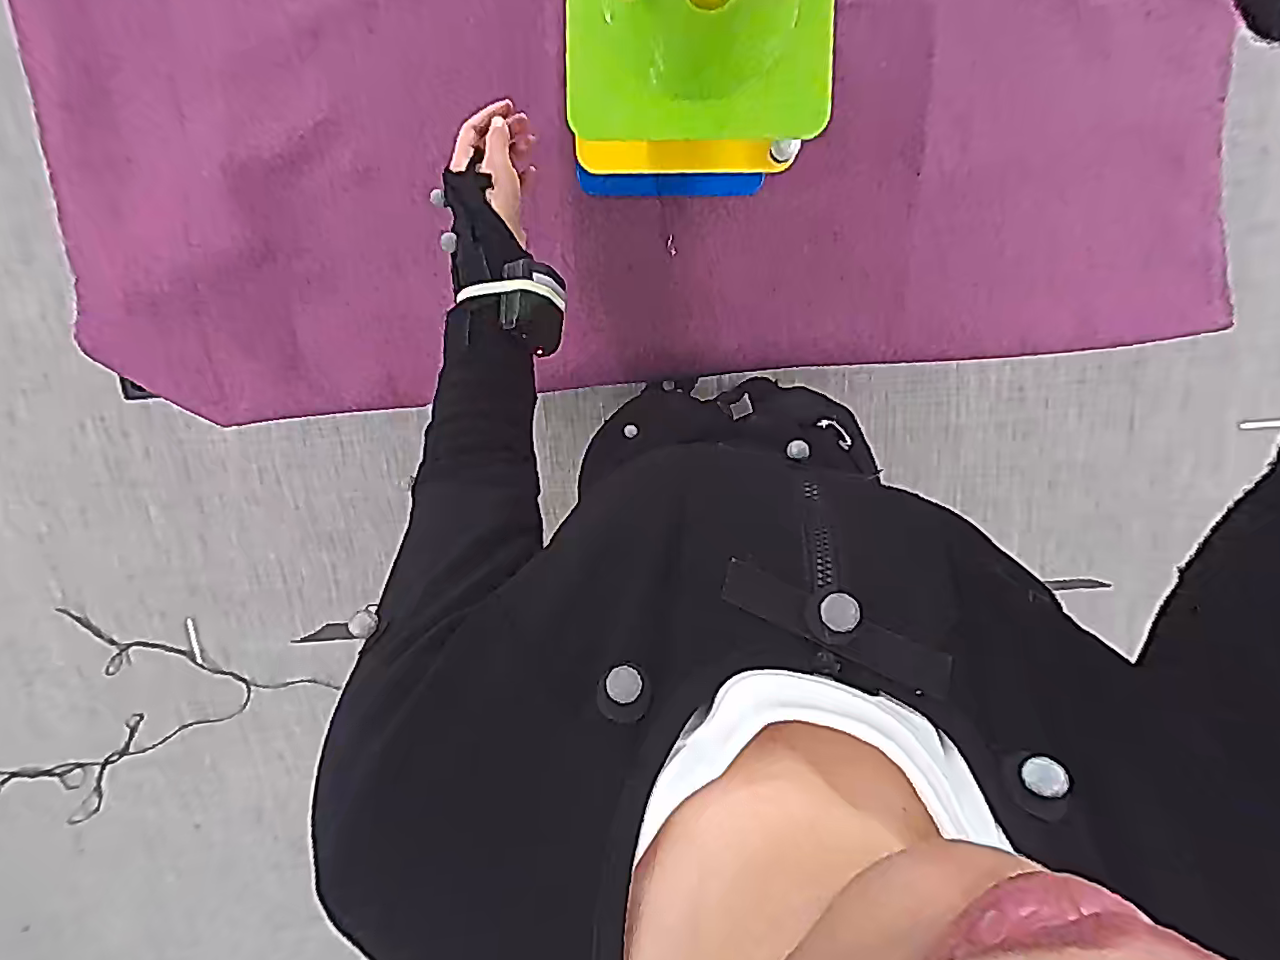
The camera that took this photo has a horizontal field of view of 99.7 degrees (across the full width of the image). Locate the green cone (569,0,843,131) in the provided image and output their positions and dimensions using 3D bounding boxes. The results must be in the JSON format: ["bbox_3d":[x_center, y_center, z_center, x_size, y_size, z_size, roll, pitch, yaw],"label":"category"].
[{"bbox_3d":[0.041,-0.343,0.220,0.200,0.368,0.202,0,96,2],"label":"green cone"}]
